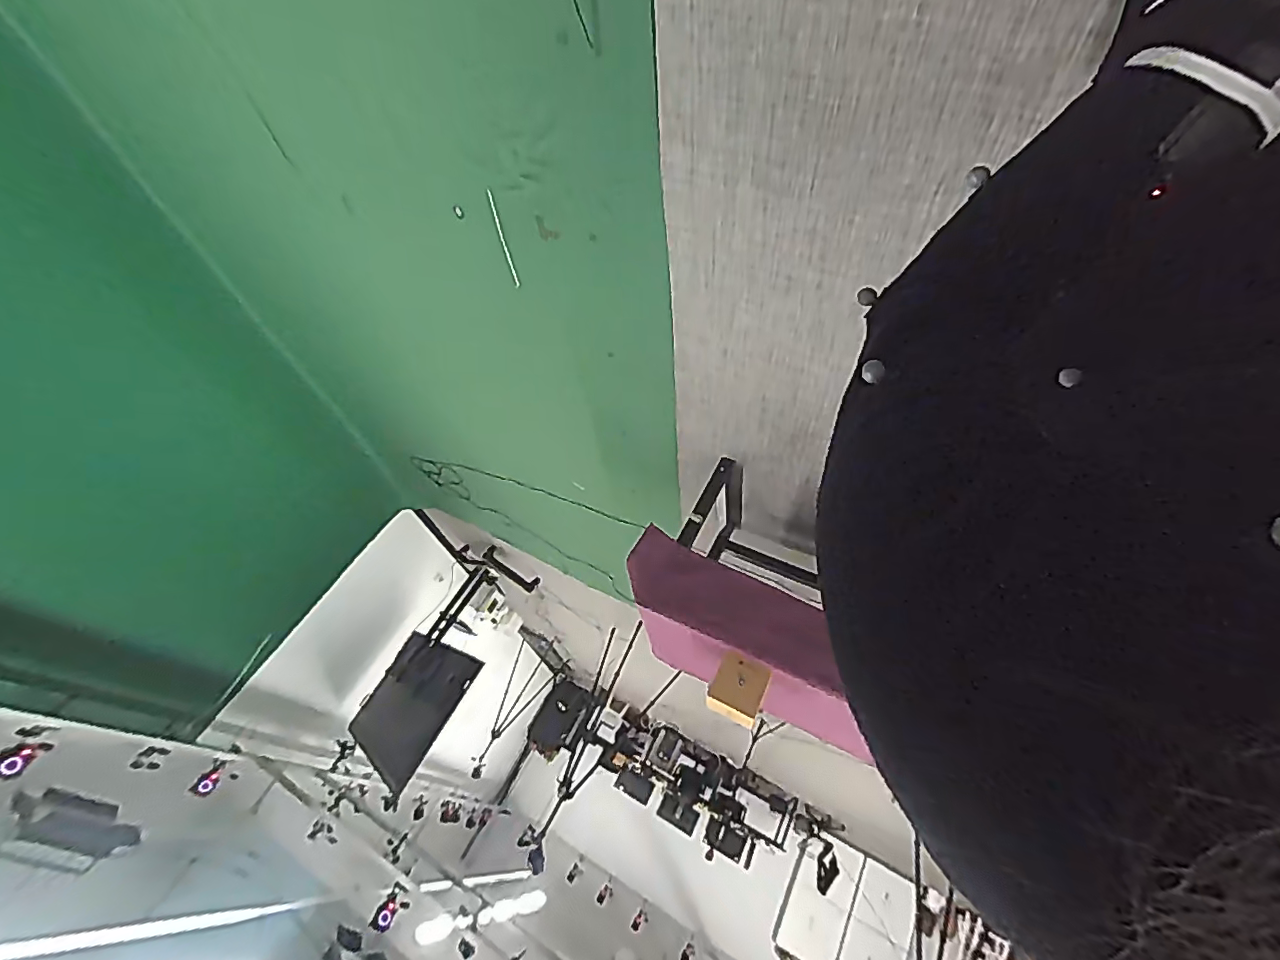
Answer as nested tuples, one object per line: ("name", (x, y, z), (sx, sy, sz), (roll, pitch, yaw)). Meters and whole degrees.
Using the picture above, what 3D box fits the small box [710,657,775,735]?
("small box", (0.343, 0.718, 1.808), (0.168, 0.176, 0.179), (21, 150, 21))
